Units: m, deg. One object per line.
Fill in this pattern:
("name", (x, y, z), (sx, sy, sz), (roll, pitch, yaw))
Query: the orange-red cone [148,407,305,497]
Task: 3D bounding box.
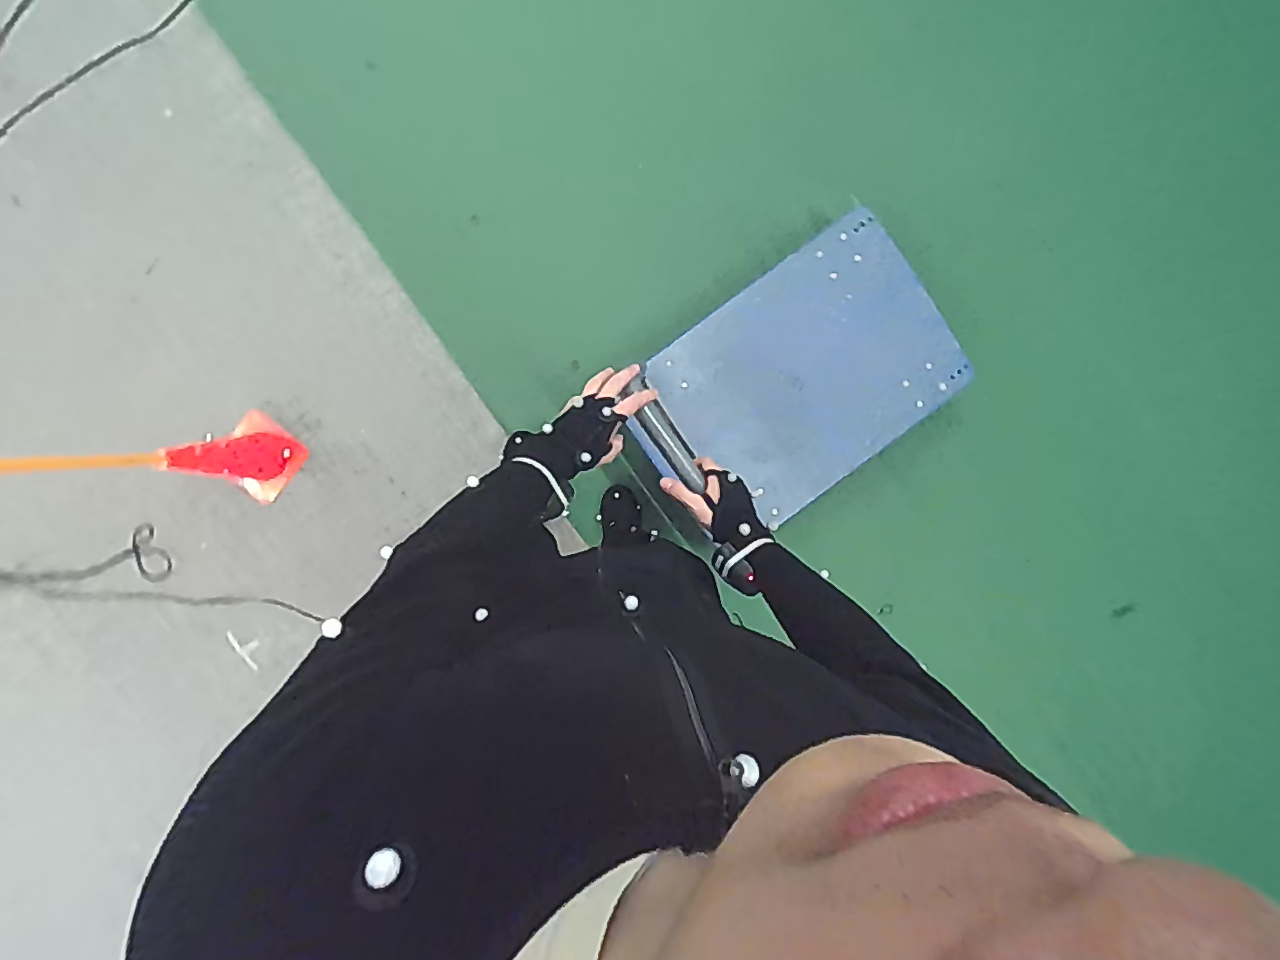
("orange-red cone", (-1.061, -0.071, 1.347), (0.199, 0.360, 0.198), (40, 89, -4))
